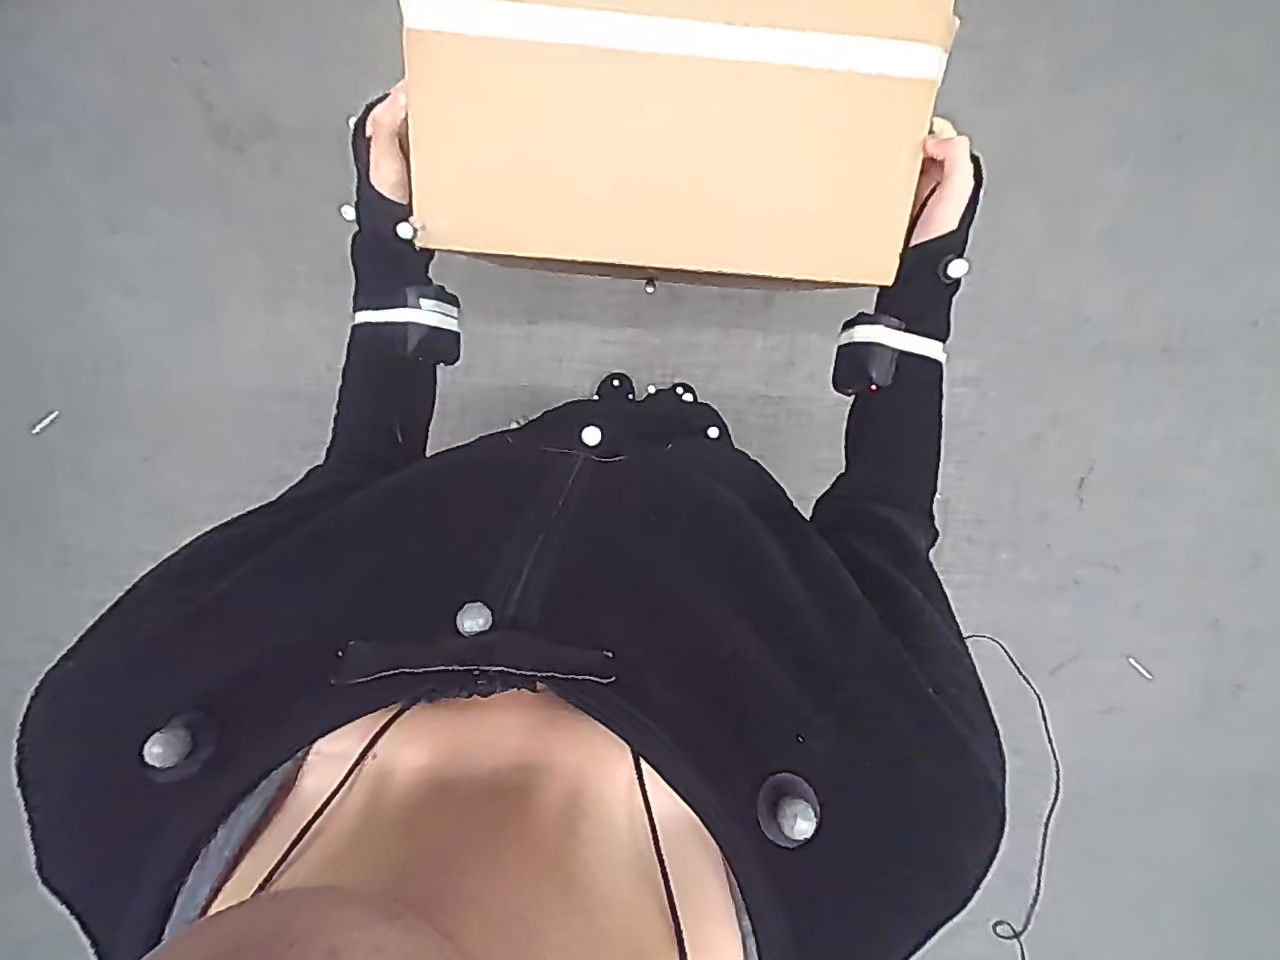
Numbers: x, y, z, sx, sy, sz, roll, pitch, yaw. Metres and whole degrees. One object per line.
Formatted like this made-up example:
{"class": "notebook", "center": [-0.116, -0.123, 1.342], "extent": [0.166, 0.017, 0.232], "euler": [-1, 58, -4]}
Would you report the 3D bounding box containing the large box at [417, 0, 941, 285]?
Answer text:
{"class": "large box", "center": [0.027, -0.378, 0.560], "extent": [0.408, 0.320, 0.320], "euler": [4, 108, -2]}
